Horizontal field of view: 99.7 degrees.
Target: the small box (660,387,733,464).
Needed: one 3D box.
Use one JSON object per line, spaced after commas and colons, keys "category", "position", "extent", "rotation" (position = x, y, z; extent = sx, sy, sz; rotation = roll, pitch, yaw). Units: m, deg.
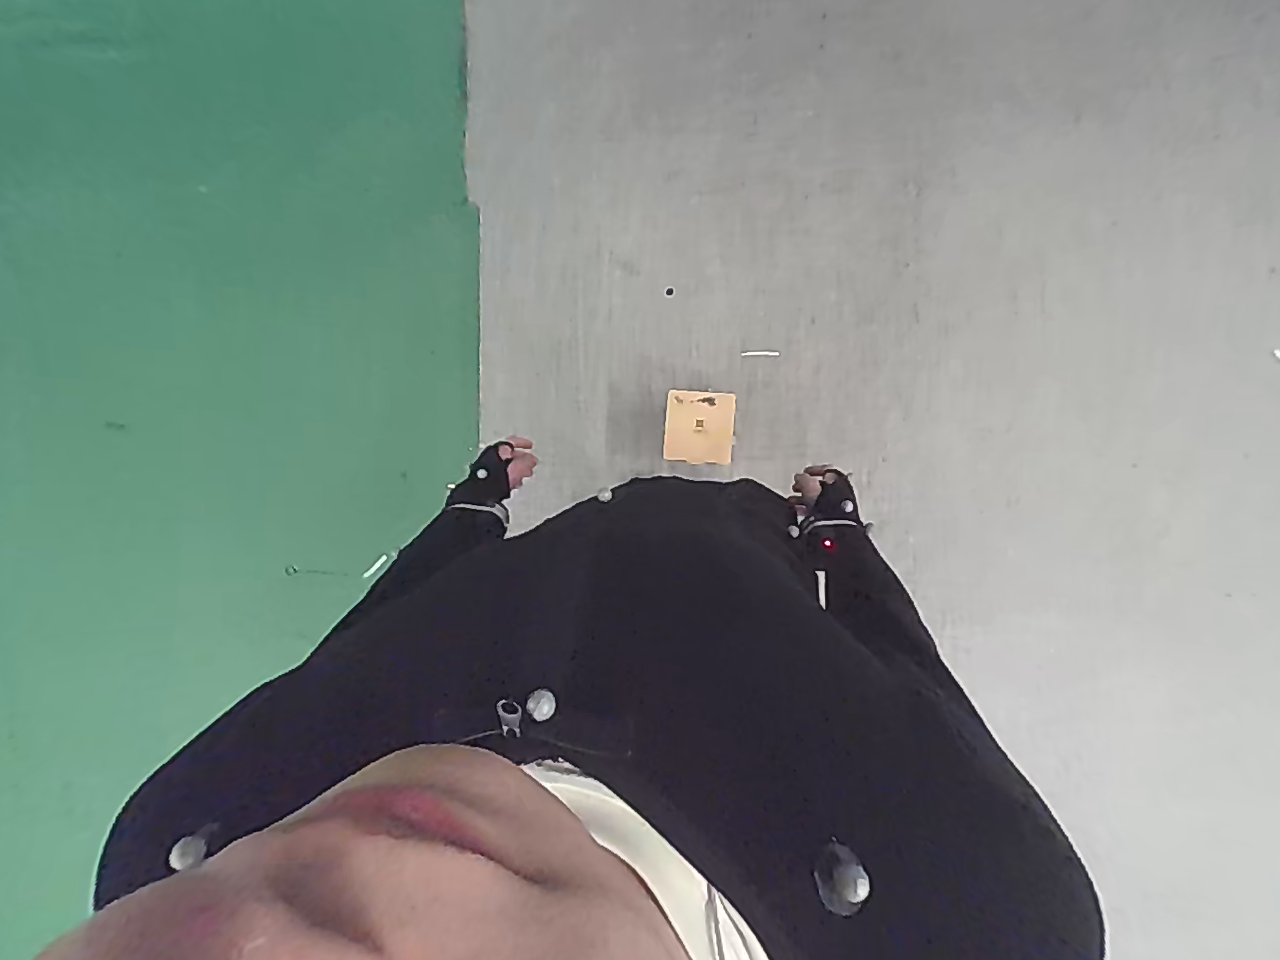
{"category": "small box", "position": [0.147, -0.138, 1.401], "extent": [0.168, 0.176, 0.179], "rotation": [6, 93, 5]}
